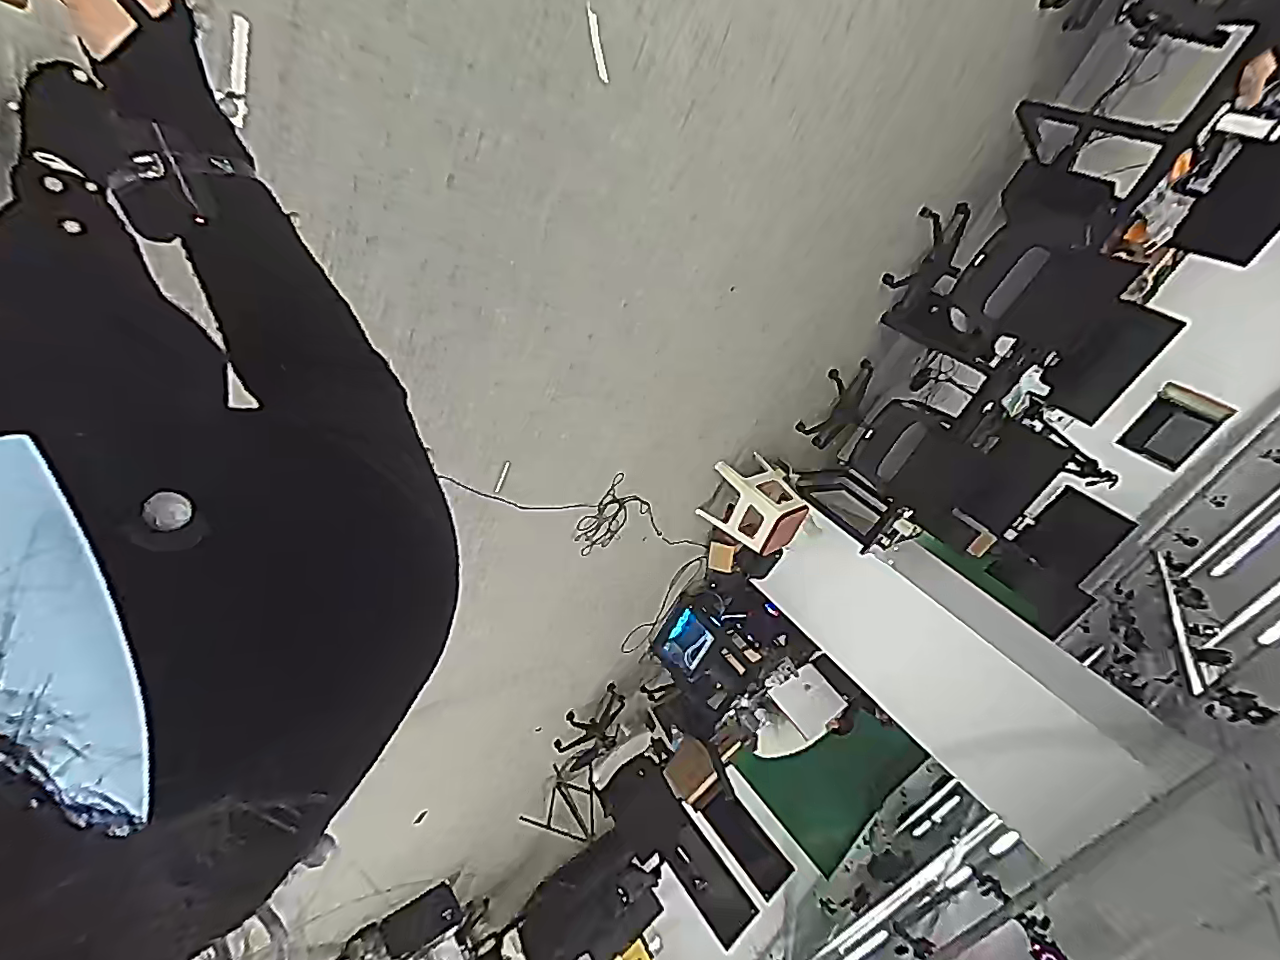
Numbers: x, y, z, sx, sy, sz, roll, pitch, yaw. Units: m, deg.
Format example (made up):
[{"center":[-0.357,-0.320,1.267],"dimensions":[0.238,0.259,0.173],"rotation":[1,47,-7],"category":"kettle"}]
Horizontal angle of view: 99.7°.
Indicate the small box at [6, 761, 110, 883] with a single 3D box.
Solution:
[{"center":[-1.470,0.859,1.372],"dimensions":[0.168,0.176,0.179],"rotation":[-8,131,-45],"category":"small box"}]
